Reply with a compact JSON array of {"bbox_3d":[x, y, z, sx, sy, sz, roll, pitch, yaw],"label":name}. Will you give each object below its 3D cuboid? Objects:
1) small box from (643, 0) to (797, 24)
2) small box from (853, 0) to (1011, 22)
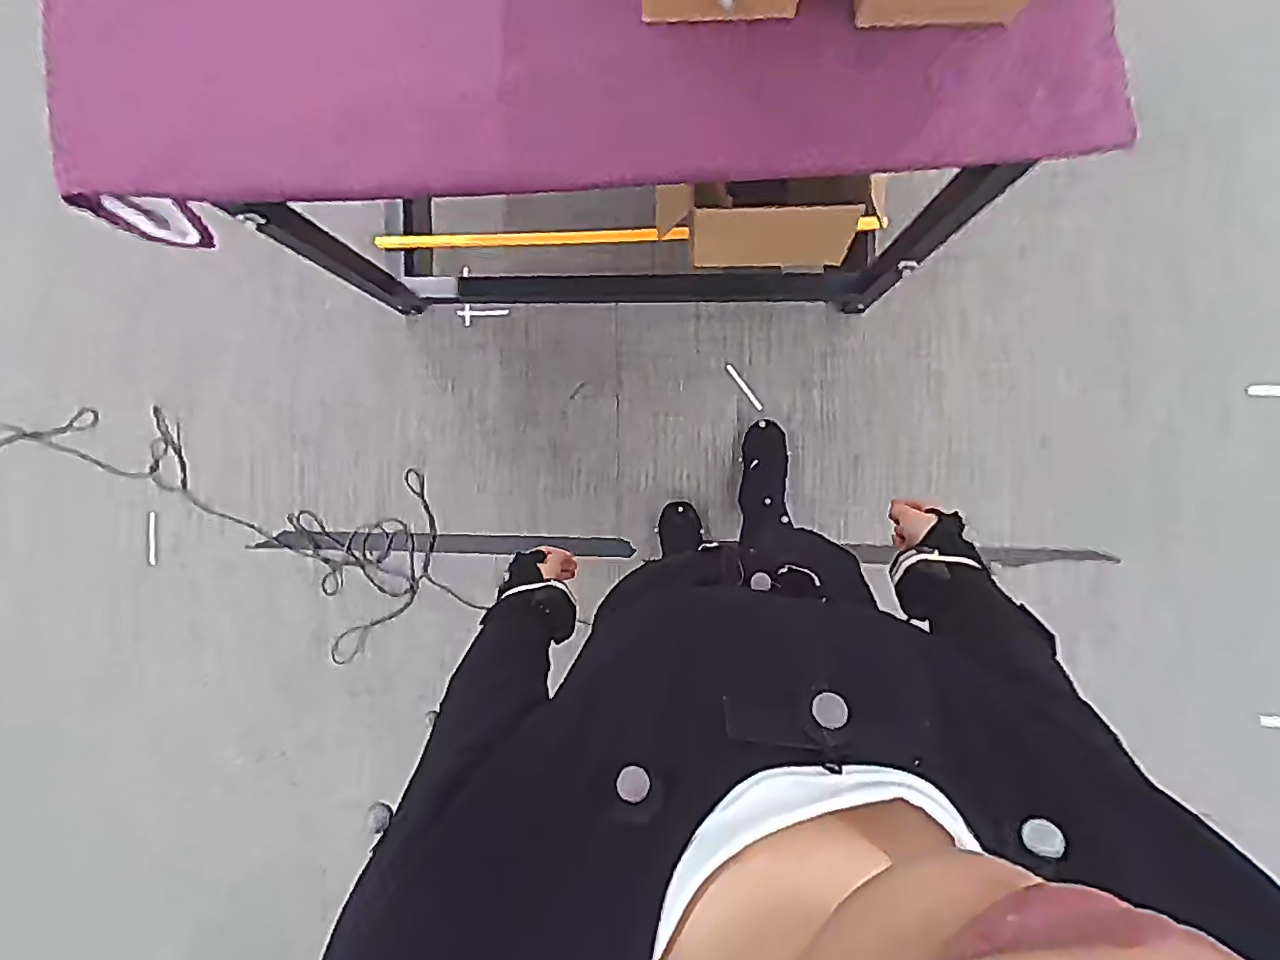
[{"bbox_3d":[0.089,-0.623,0.557,0.179,0.176,0.168,1,90,4],"label":"small box"},{"bbox_3d":[0.334,-0.608,0.544,0.179,0.176,0.168,1,89,3],"label":"small box"}]
